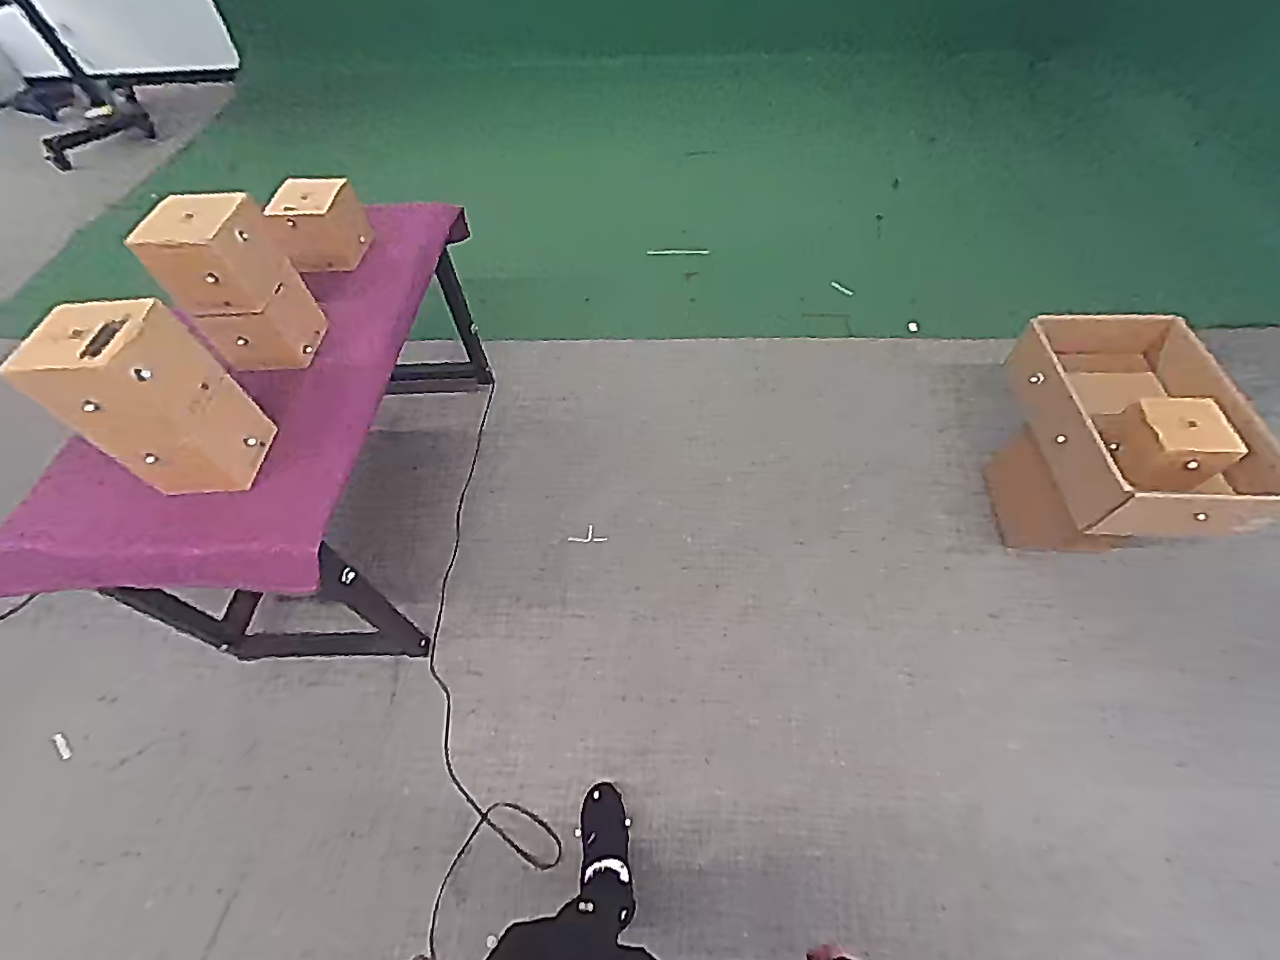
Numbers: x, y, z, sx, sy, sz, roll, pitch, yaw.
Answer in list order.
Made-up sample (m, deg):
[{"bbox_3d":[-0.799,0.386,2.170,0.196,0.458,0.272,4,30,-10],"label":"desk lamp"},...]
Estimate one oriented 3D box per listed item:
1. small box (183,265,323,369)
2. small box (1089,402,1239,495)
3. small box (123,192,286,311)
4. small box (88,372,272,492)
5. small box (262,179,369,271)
[{"bbox_3d":[-0.873,-0.371,1.244,0.179,0.176,0.168,-2,55,2],"label":"small box"},{"bbox_3d":[1.286,-0.074,1.343,0.179,0.176,0.168,2,56,4],"label":"small box"},{"bbox_3d":[-0.874,-0.464,1.111,0.168,0.176,0.179,0,54,1],"label":"small box"},{"bbox_3d":[-0.869,-0.088,1.043,0.179,0.176,0.168,-2,55,0],"label":"small box"},{"bbox_3d":[-0.867,-0.691,1.468,0.168,0.176,0.179,0,55,2],"label":"small box"}]
